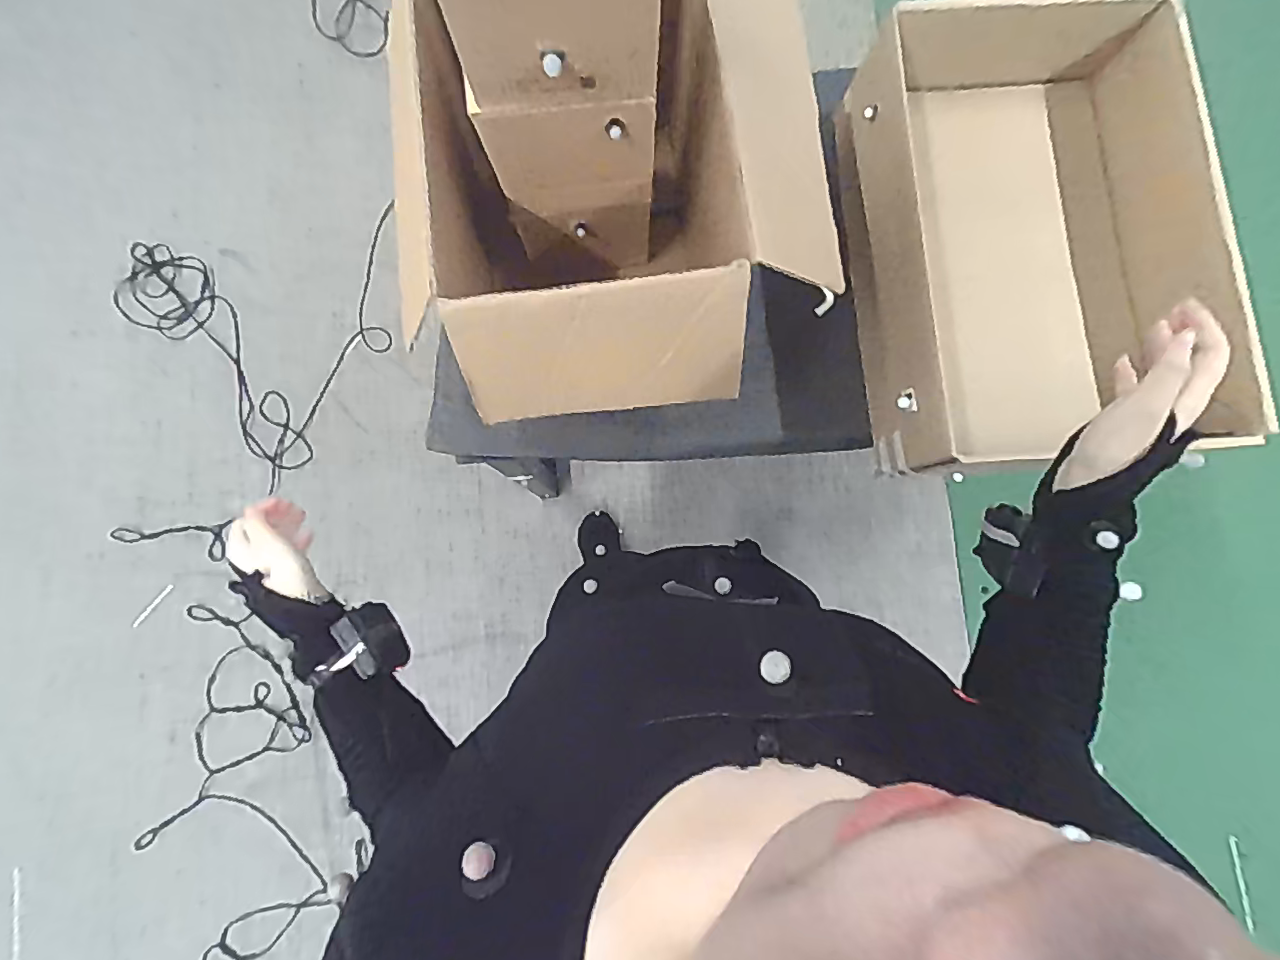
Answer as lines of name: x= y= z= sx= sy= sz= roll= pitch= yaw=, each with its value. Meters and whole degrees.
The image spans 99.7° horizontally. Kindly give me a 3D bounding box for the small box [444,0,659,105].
small box: x=-0.074 y=-0.439 z=0.421 sx=0.168 sy=0.176 sz=0.179 roll=-5 pitch=86 yaw=-1
